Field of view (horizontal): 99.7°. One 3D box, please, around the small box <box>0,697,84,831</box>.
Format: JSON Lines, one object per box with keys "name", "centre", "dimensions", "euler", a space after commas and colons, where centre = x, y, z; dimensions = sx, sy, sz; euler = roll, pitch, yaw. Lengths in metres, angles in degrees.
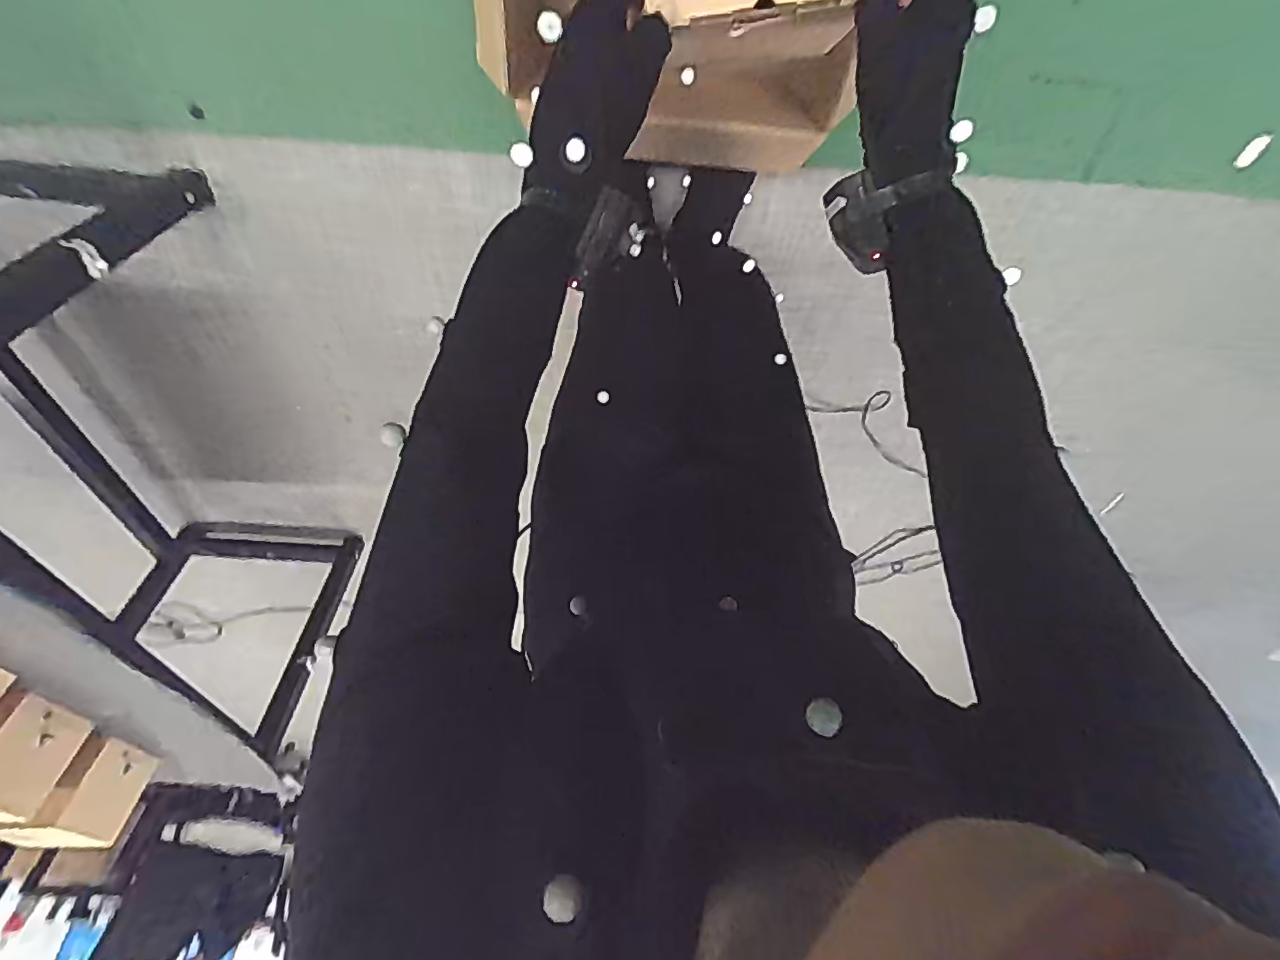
{"name": "small box", "centre": [-1.142, 0.482, 0.924], "dimensions": [0.179, 0.176, 0.168], "euler": [1, 136, -1]}
